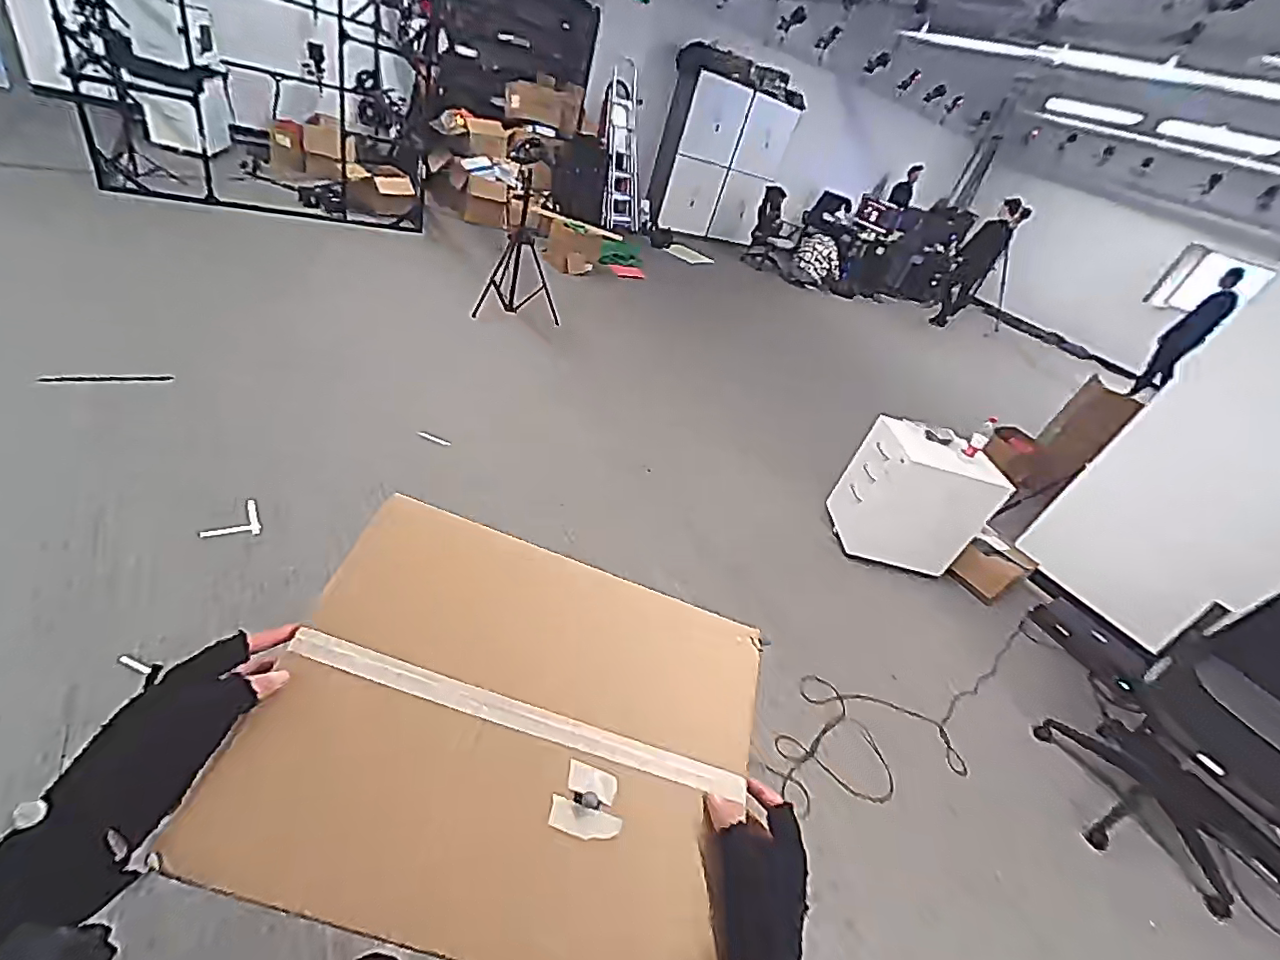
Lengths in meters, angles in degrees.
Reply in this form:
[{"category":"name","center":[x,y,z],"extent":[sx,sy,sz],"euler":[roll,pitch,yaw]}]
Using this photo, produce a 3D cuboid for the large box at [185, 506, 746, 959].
[{"category":"large box","center":[-0.145,0.290,0.597],"extent":[0.408,0.320,0.320],"euler":[22,52,-6]}]
